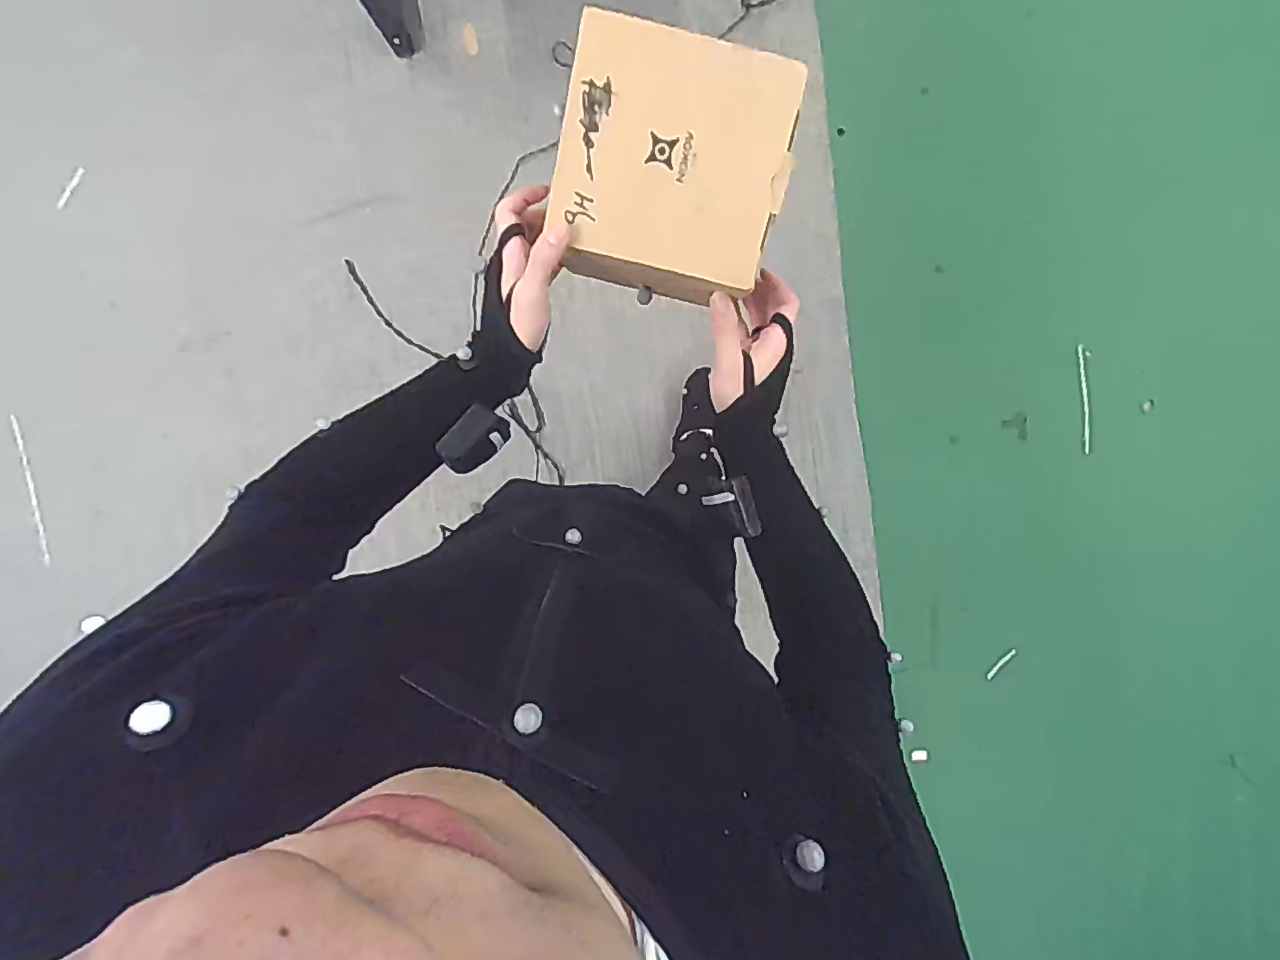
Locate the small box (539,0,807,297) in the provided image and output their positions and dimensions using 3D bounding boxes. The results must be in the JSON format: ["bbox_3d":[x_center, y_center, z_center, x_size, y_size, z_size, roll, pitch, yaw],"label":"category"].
[{"bbox_3d":[0.022,-0.272,0.491,0.179,0.176,0.168,13,101,-3],"label":"small box"}]
